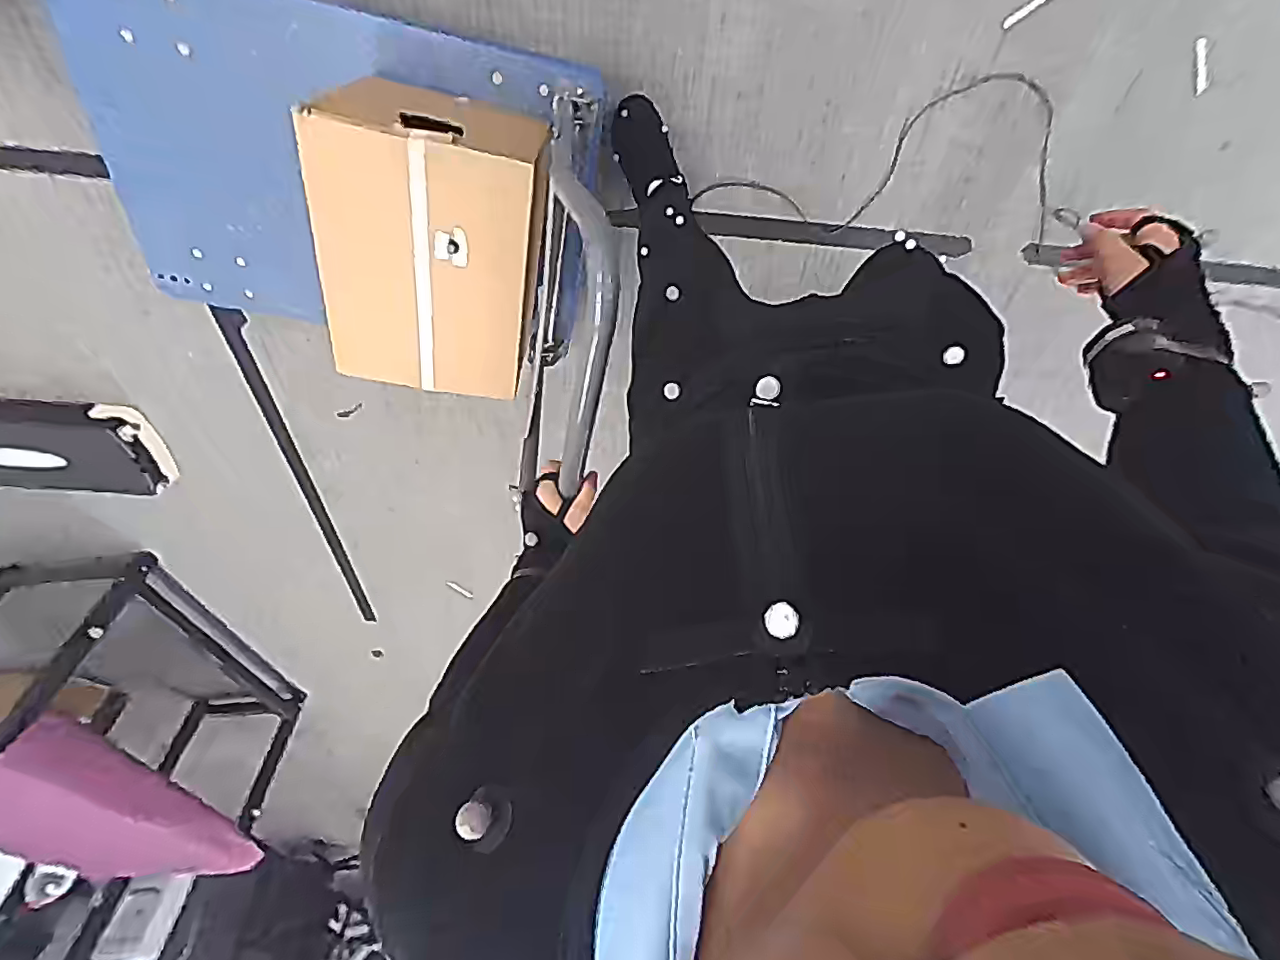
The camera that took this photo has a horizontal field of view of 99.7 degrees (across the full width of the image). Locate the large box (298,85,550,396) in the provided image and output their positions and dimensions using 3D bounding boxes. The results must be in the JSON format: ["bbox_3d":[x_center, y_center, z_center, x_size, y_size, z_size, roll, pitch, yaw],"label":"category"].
[{"bbox_3d":[-0.344,-0.417,0.970,0.320,0.320,0.408,7,131,-10],"label":"large box"}]
